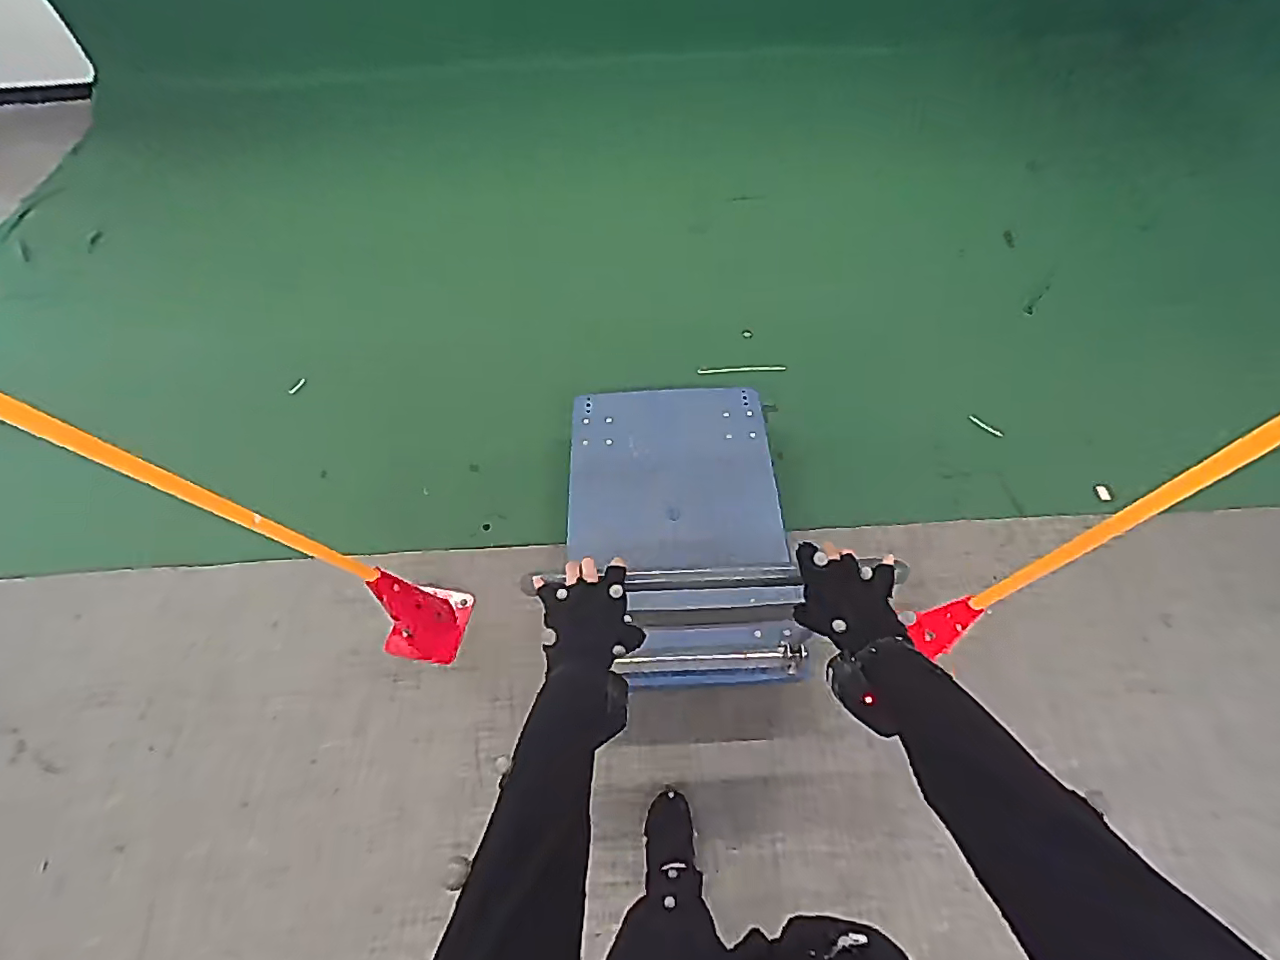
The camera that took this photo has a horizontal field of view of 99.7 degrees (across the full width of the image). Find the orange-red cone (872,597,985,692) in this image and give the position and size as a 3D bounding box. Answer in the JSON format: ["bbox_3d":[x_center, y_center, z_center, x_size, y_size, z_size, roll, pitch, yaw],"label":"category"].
[{"bbox_3d":[0.706,0.354,1.271,0.198,0.360,0.199,6,59,6],"label":"orange-red cone"}]
